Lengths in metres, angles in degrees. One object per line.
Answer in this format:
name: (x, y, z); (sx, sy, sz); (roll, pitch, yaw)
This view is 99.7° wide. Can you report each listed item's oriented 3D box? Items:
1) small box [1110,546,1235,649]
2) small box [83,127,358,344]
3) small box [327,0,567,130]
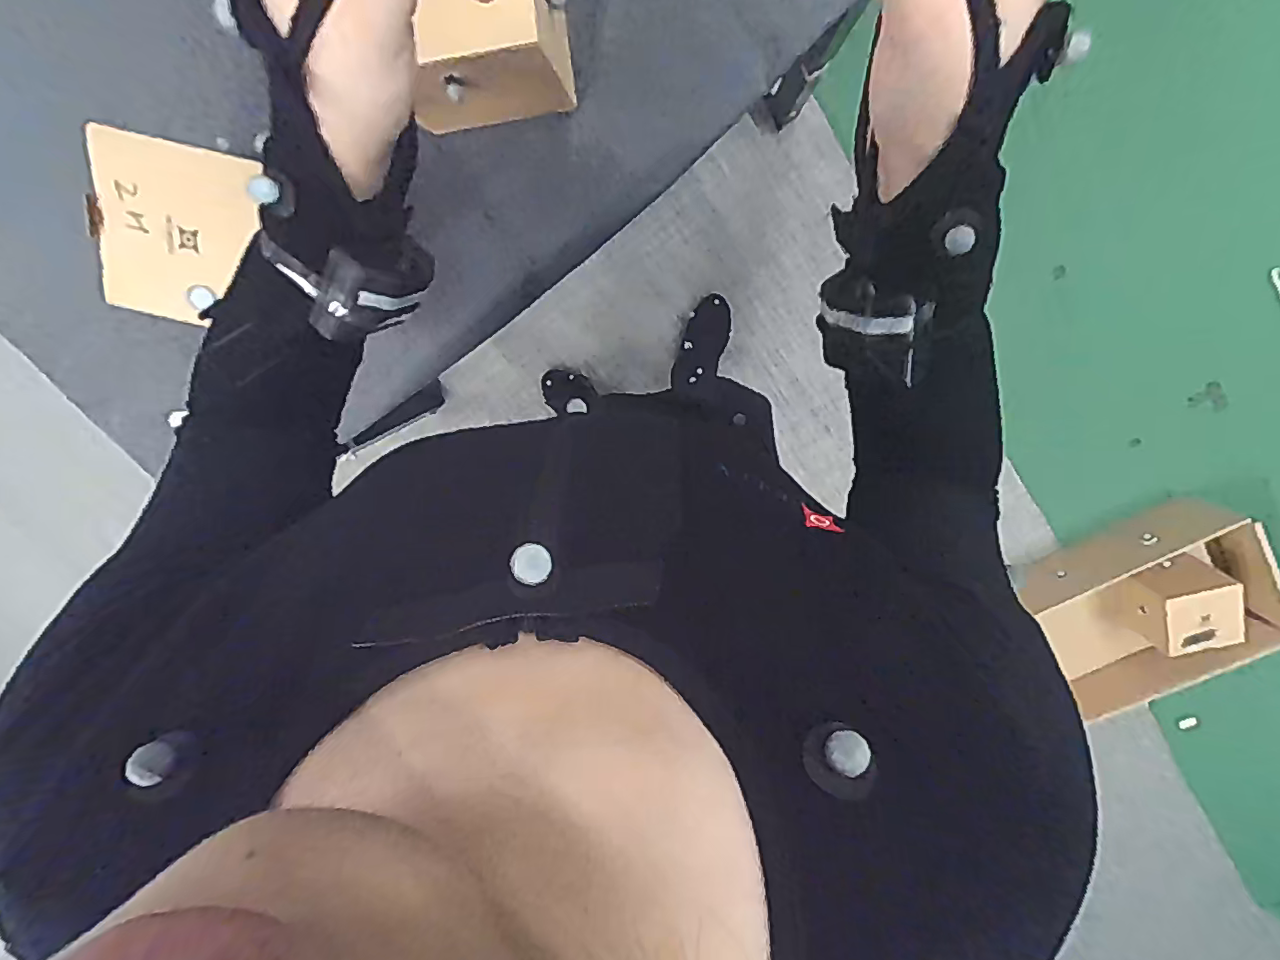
small box: (1.361, 0.299, 1.391); (0.168, 0.176, 0.179); (-18, 108, 11)
small box: (-0.441, -0.260, 0.601); (0.179, 0.176, 0.168); (13, 109, 0)
small box: (-0.174, -0.457, 0.511); (0.179, 0.176, 0.168); (-5, 109, 8)
